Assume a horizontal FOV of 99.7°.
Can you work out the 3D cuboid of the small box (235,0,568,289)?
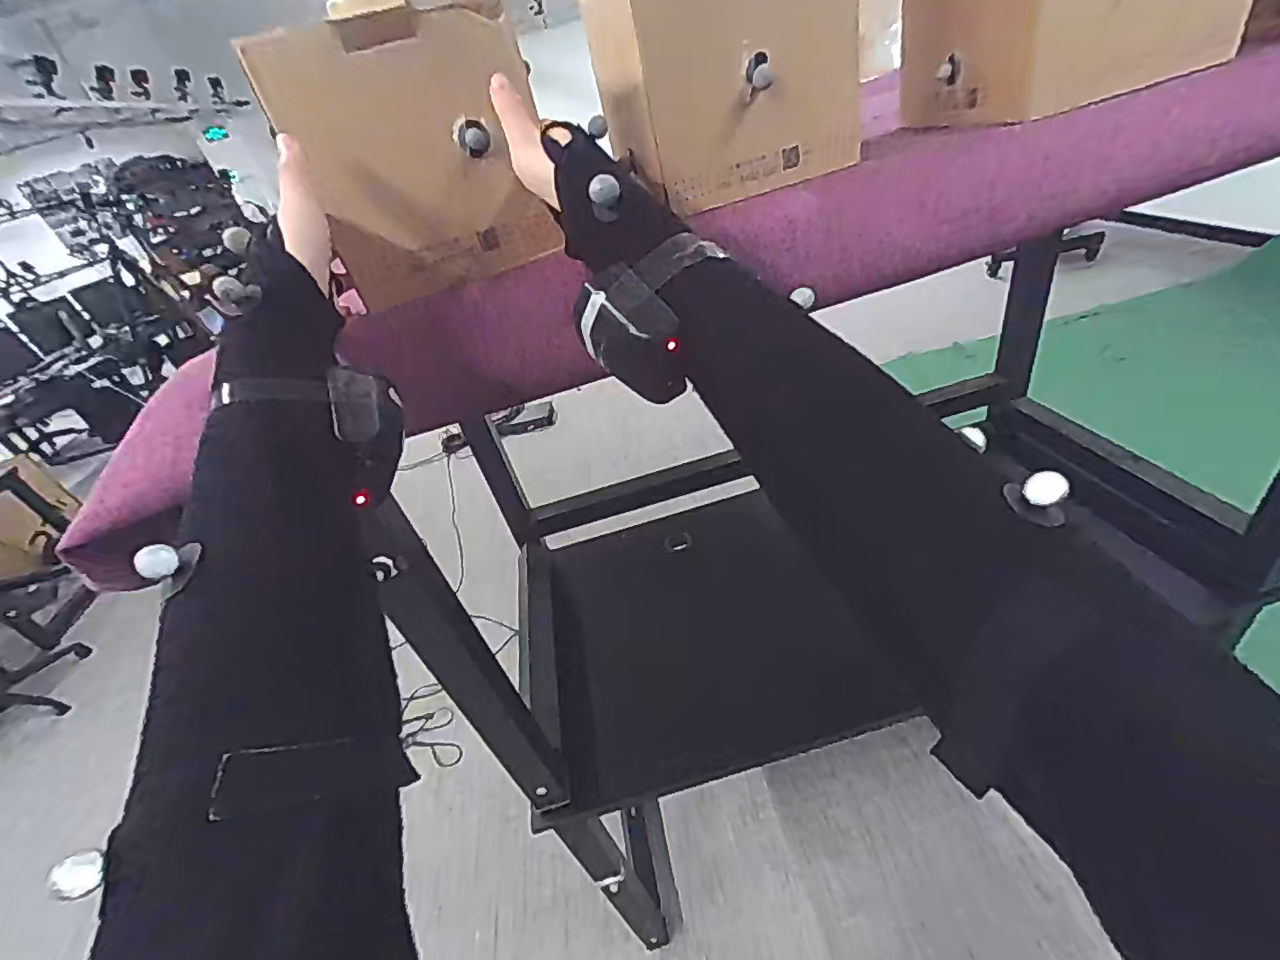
[{"bbox_3d":[-0.167,-0.269,0.437,0.168,0.176,0.179,-19,34,-6],"label":"small box"}]

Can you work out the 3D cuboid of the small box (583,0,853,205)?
[{"bbox_3d":[0.062,-0.343,0.449,0.168,0.176,0.179,-18,35,-4],"label":"small box"}]
